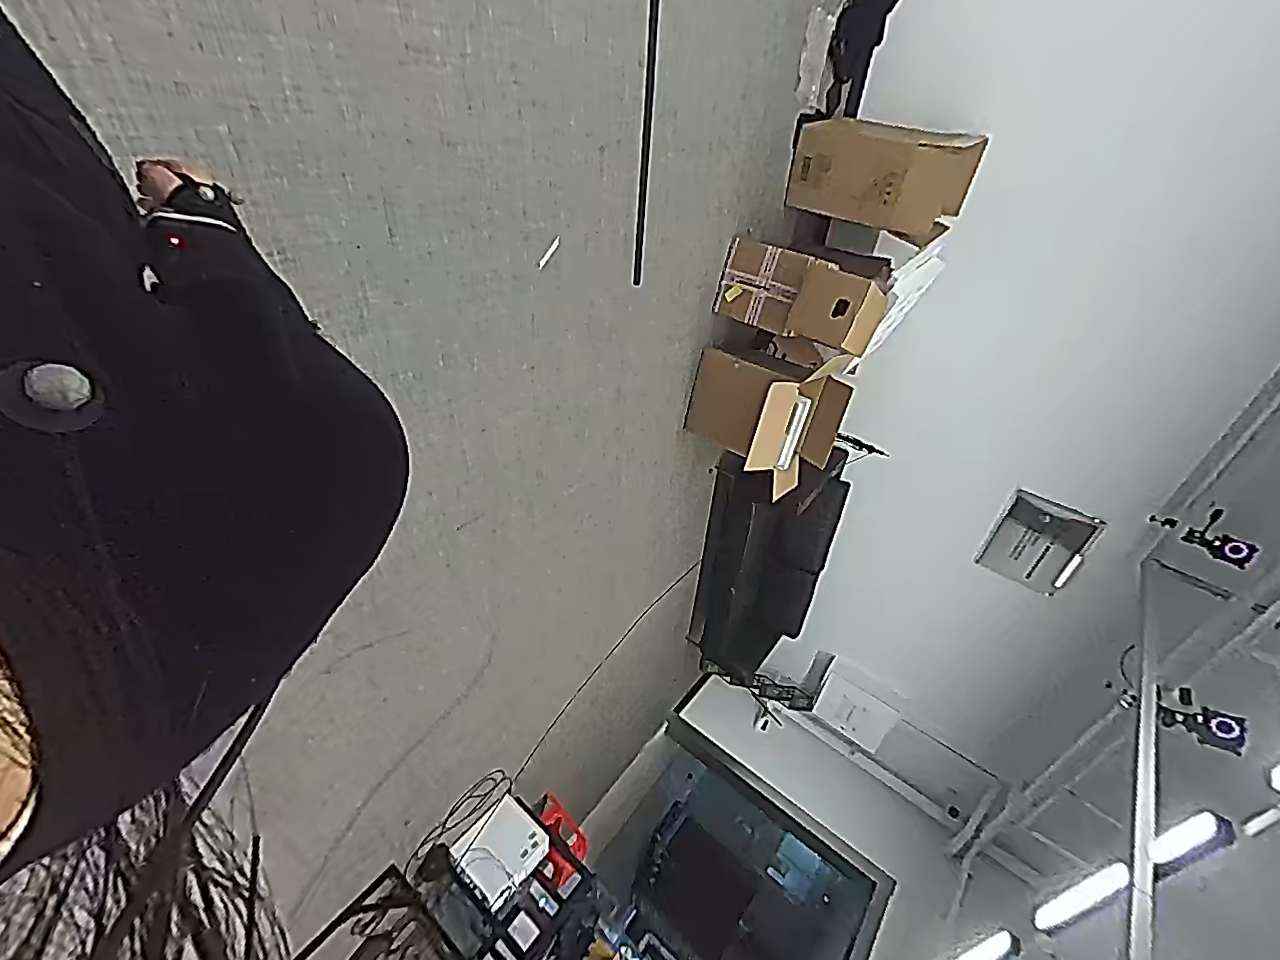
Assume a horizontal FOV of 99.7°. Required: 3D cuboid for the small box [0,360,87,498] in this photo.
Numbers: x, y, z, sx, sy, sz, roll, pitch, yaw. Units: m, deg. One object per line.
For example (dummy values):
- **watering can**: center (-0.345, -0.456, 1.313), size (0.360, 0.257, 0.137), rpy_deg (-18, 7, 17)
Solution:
- **small box**: center (-1.149, -0.093, 0.949), size (0.168, 0.176, 0.179), rpy_deg (-43, 146, -34)
